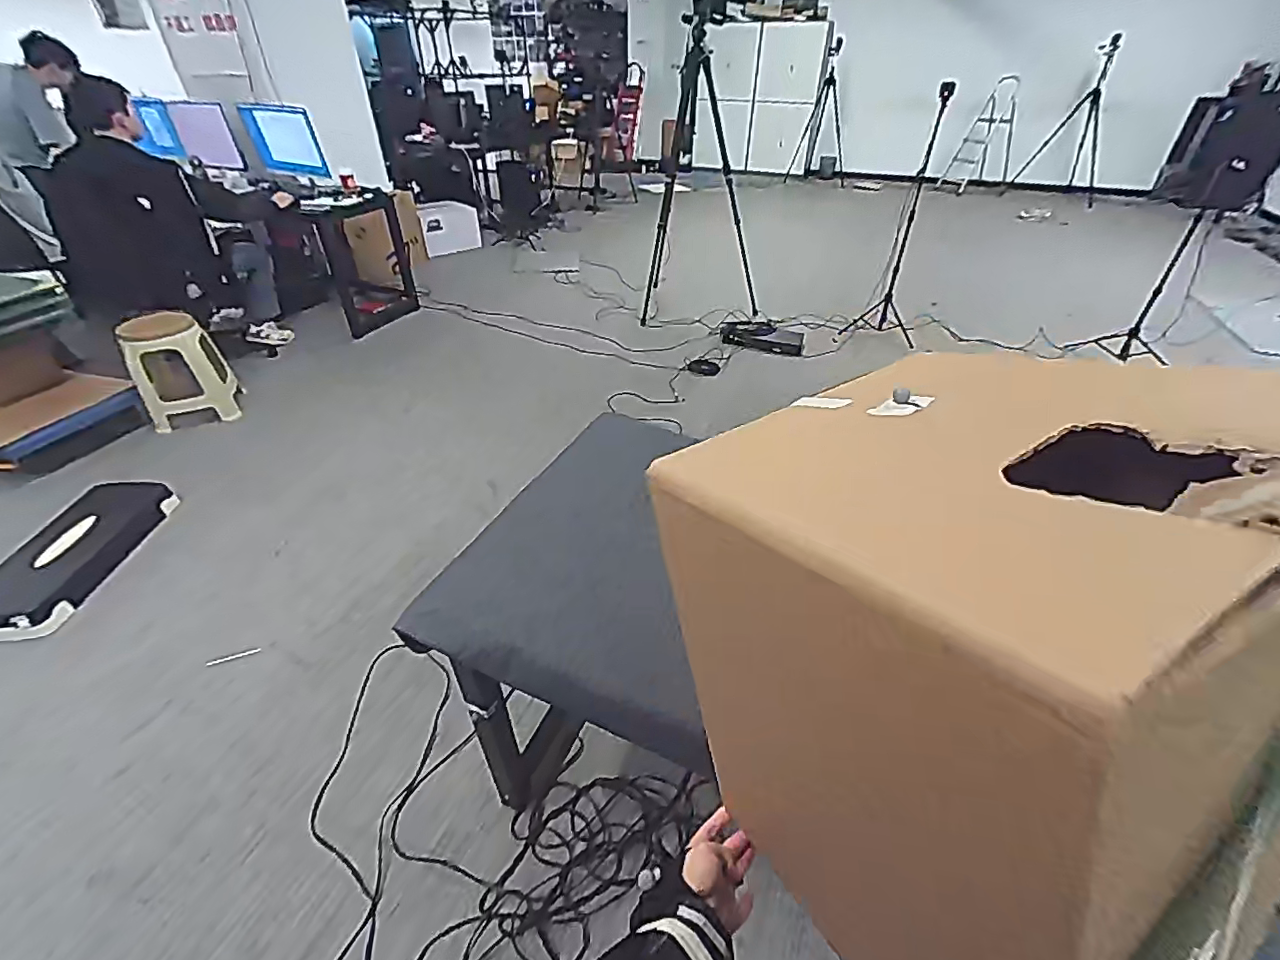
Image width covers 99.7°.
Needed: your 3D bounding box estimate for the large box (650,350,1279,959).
[{"bbox_3d":[0.248,0.143,0.436,0.320,0.408,0.320,-24,26,-21],"label":"large box"}]
